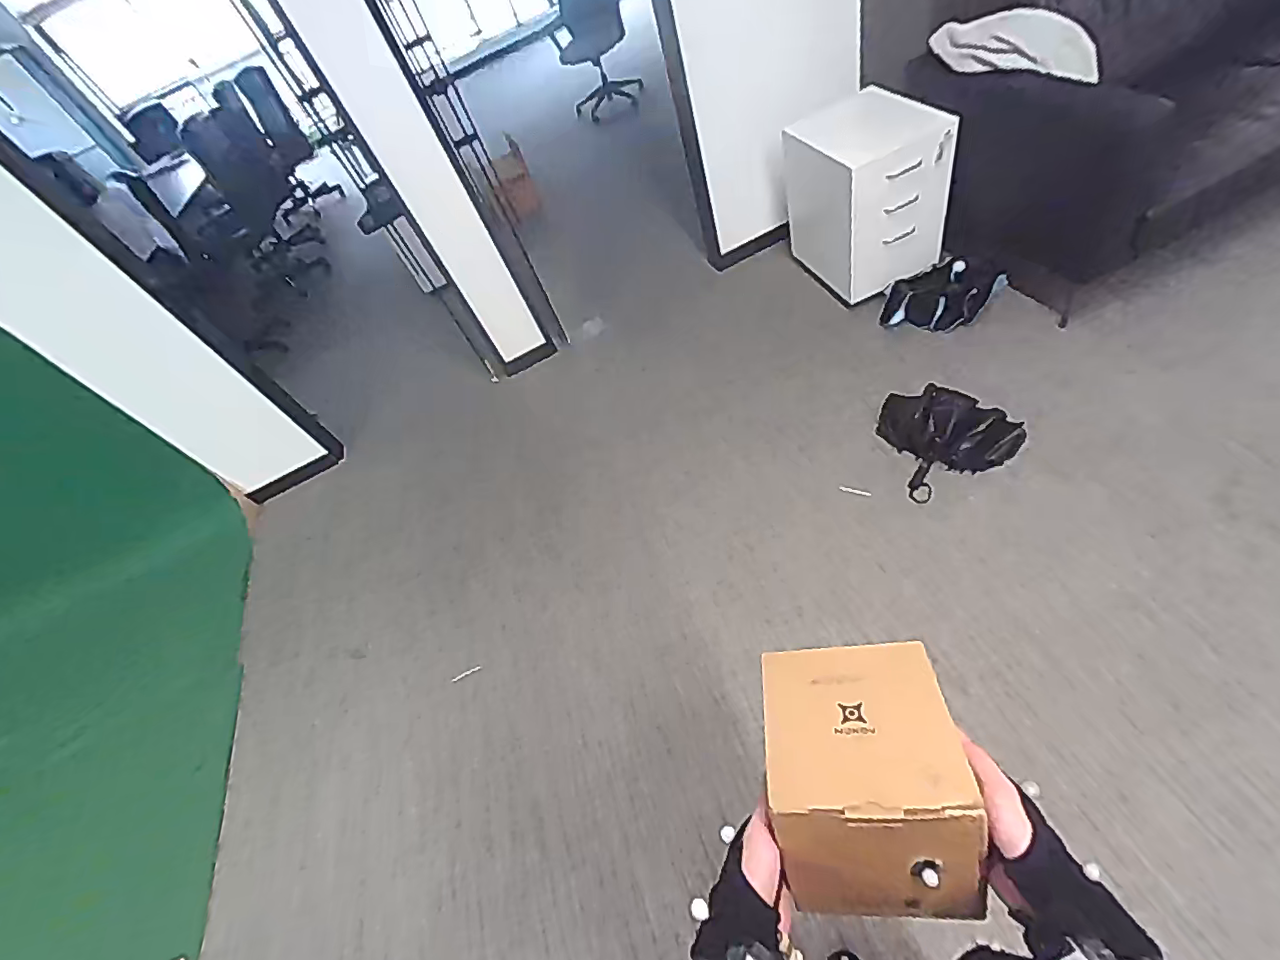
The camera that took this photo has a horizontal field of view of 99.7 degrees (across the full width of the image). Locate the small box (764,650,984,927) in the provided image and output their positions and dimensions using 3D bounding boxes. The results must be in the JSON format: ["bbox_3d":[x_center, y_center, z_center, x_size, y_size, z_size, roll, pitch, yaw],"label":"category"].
[{"bbox_3d":[0.219,0.297,0.534,0.168,0.176,0.179,-8,25,15],"label":"small box"}]
